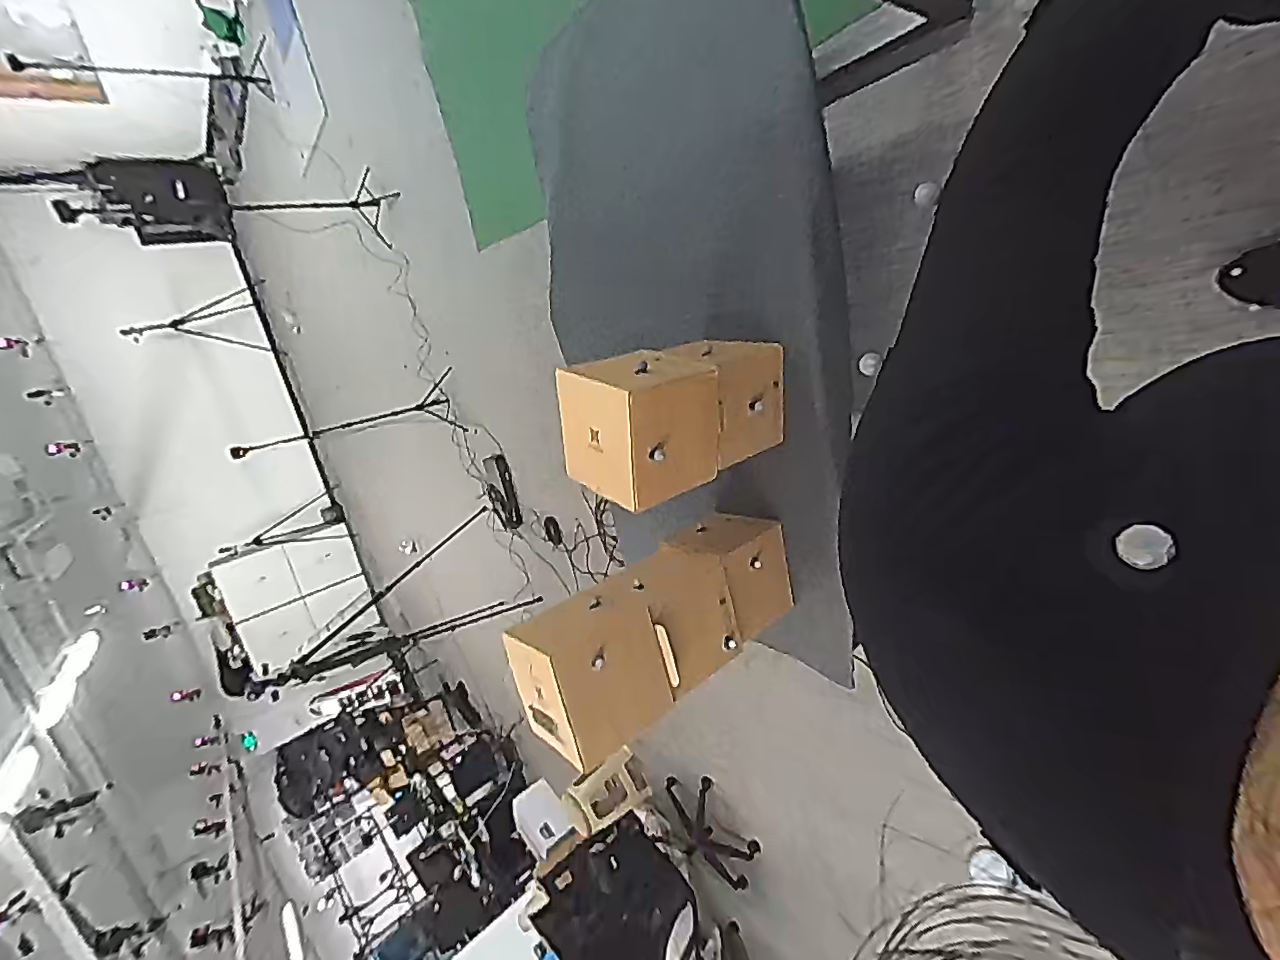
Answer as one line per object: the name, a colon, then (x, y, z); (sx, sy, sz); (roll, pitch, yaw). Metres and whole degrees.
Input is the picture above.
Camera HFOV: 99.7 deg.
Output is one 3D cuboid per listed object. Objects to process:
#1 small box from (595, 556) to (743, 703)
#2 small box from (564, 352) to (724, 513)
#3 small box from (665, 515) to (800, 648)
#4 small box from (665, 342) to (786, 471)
small box: (0.055, 0.239, 0.918); (0.179, 0.176, 0.168); (-1, 107, 55)
small box: (0.010, -0.081, 0.797); (0.168, 0.176, 0.179); (25, 128, 44)
small box: (0.176, 0.178, 1.012); (0.168, 0.176, 0.179); (5, 113, 53)
small box: (0.128, -0.132, 0.899); (0.179, 0.176, 0.168); (18, 123, 46)
